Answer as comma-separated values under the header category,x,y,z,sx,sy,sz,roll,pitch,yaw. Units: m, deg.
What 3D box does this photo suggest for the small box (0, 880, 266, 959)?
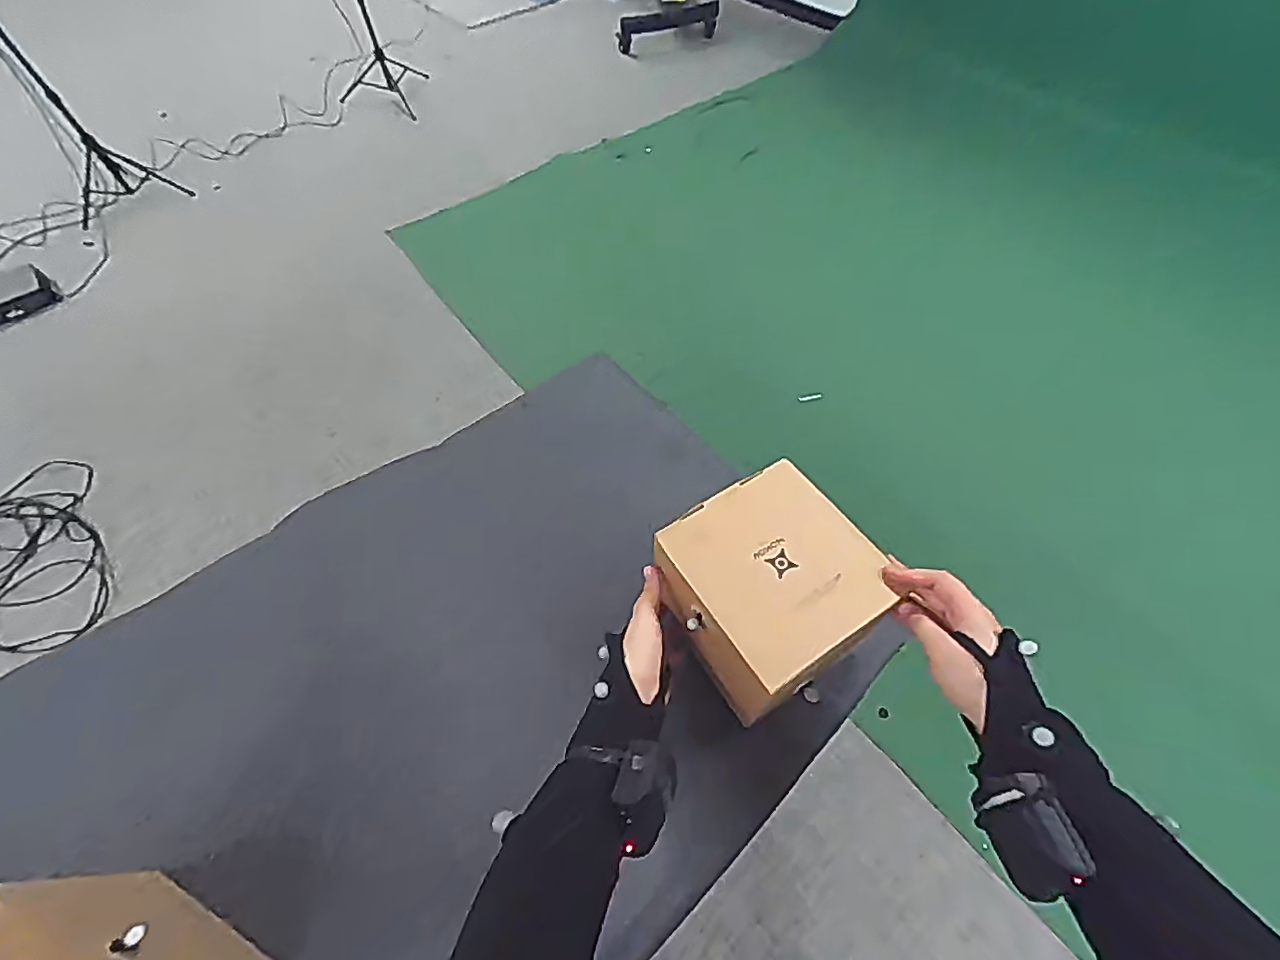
category,x,y,z,sx,sy,sz,roll,pitch,yaw
small box,-0.424,0.428,0.397,0.179,0.176,0.168,22,60,15

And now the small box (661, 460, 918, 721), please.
category,x,y,z,sx,sy,sz,roll,pitch,yaw
small box,0.134,0.119,0.559,0.168,0.176,0.179,-29,60,-15
